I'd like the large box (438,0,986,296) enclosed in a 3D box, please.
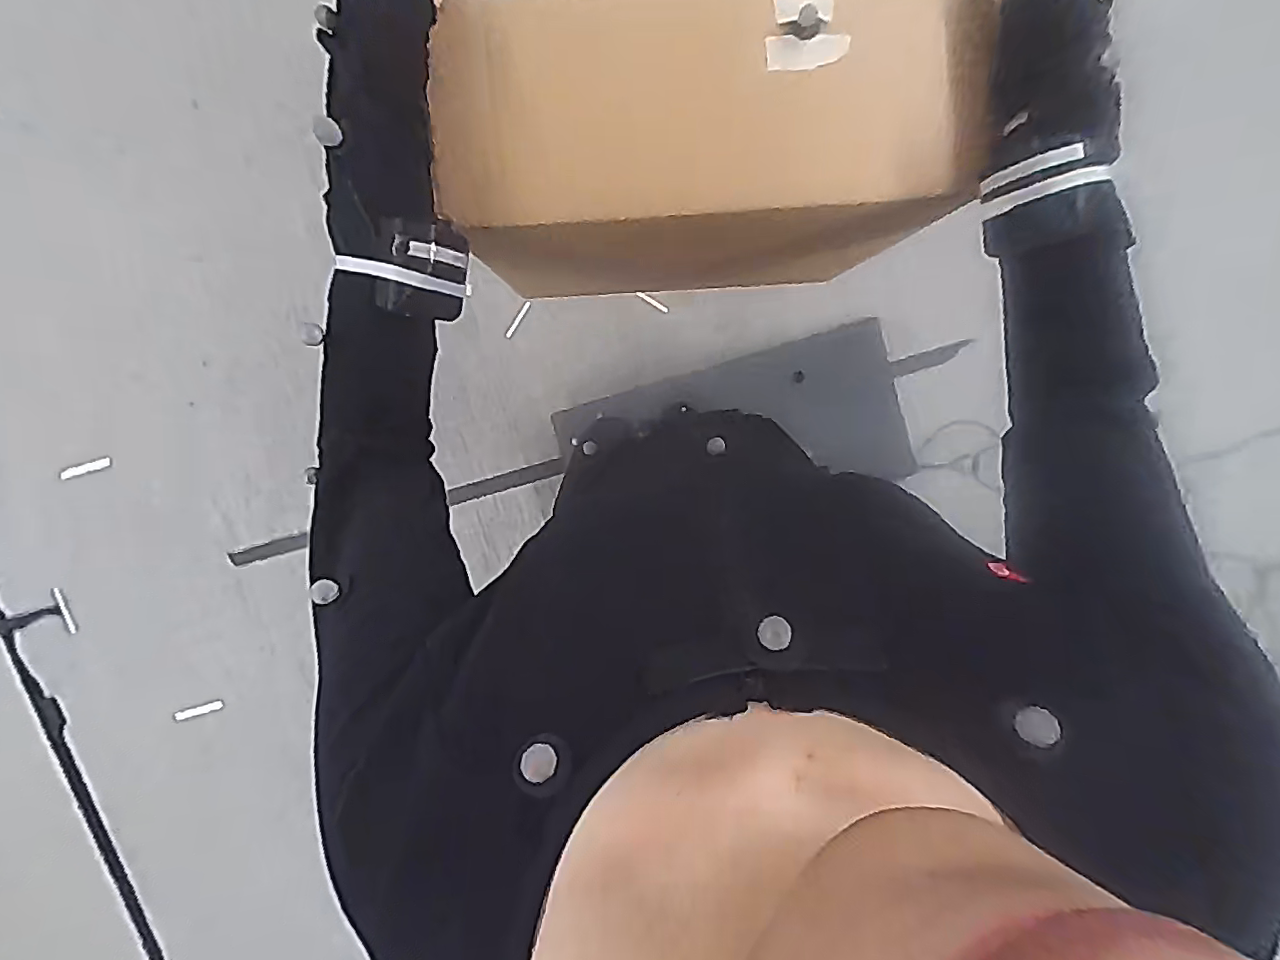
[{"bbox_3d":[0.047,-0.381,0.534,0.408,0.320,0.320,-3,99,-1],"label":"large box"}]

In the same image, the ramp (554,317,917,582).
[{"bbox_3d":[0.301,-0.103,1.546,0.991,0.206,0.509,-19,94,1],"label":"ramp"}]
